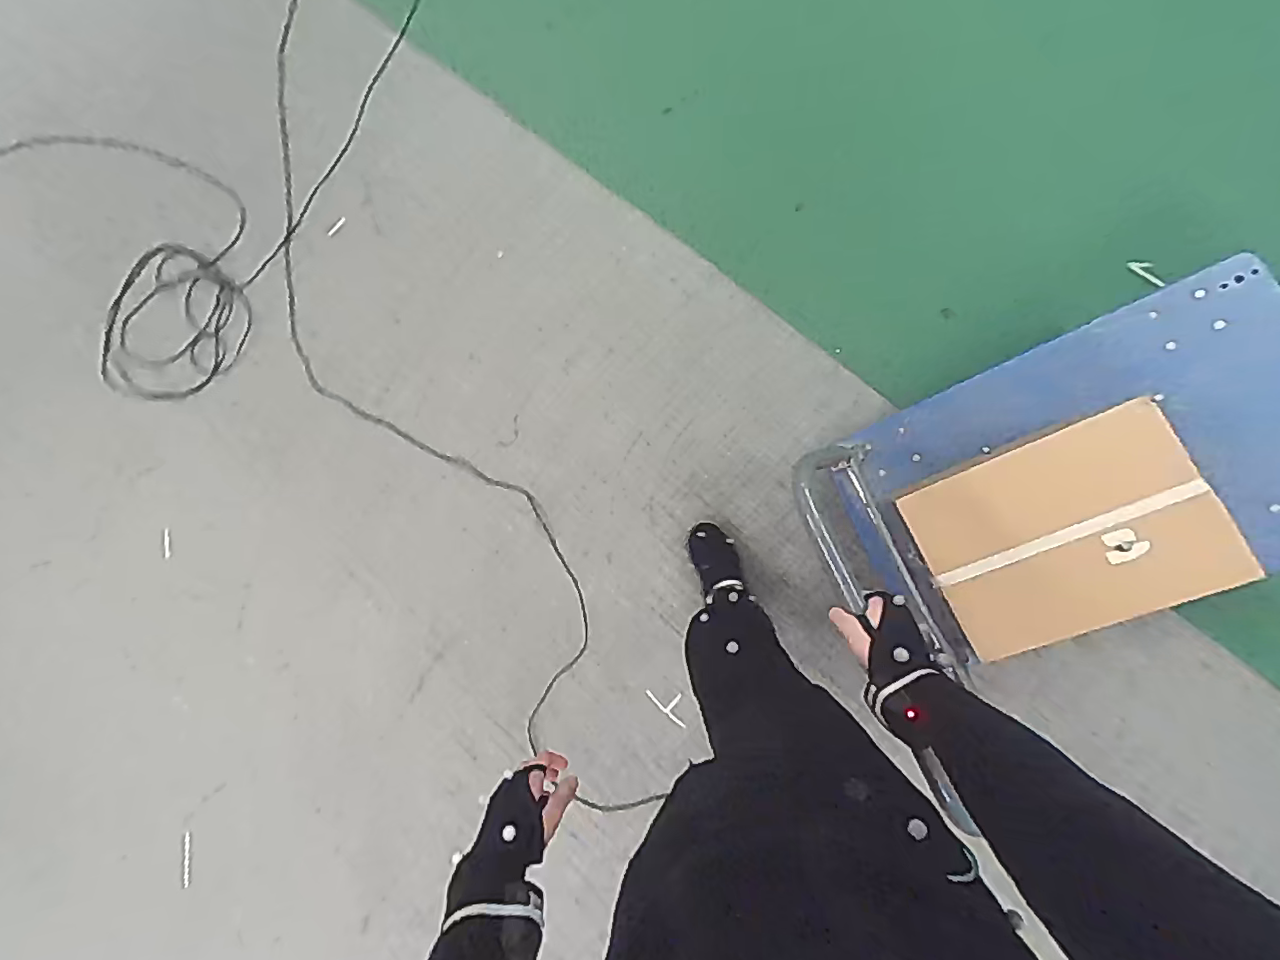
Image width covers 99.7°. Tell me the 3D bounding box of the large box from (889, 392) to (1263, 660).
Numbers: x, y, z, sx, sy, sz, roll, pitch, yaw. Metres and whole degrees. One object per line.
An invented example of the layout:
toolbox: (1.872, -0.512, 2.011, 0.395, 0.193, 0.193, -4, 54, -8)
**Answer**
large box: (0.745, 0.088, 1.020, 0.408, 0.320, 0.320, -27, 80, 18)
